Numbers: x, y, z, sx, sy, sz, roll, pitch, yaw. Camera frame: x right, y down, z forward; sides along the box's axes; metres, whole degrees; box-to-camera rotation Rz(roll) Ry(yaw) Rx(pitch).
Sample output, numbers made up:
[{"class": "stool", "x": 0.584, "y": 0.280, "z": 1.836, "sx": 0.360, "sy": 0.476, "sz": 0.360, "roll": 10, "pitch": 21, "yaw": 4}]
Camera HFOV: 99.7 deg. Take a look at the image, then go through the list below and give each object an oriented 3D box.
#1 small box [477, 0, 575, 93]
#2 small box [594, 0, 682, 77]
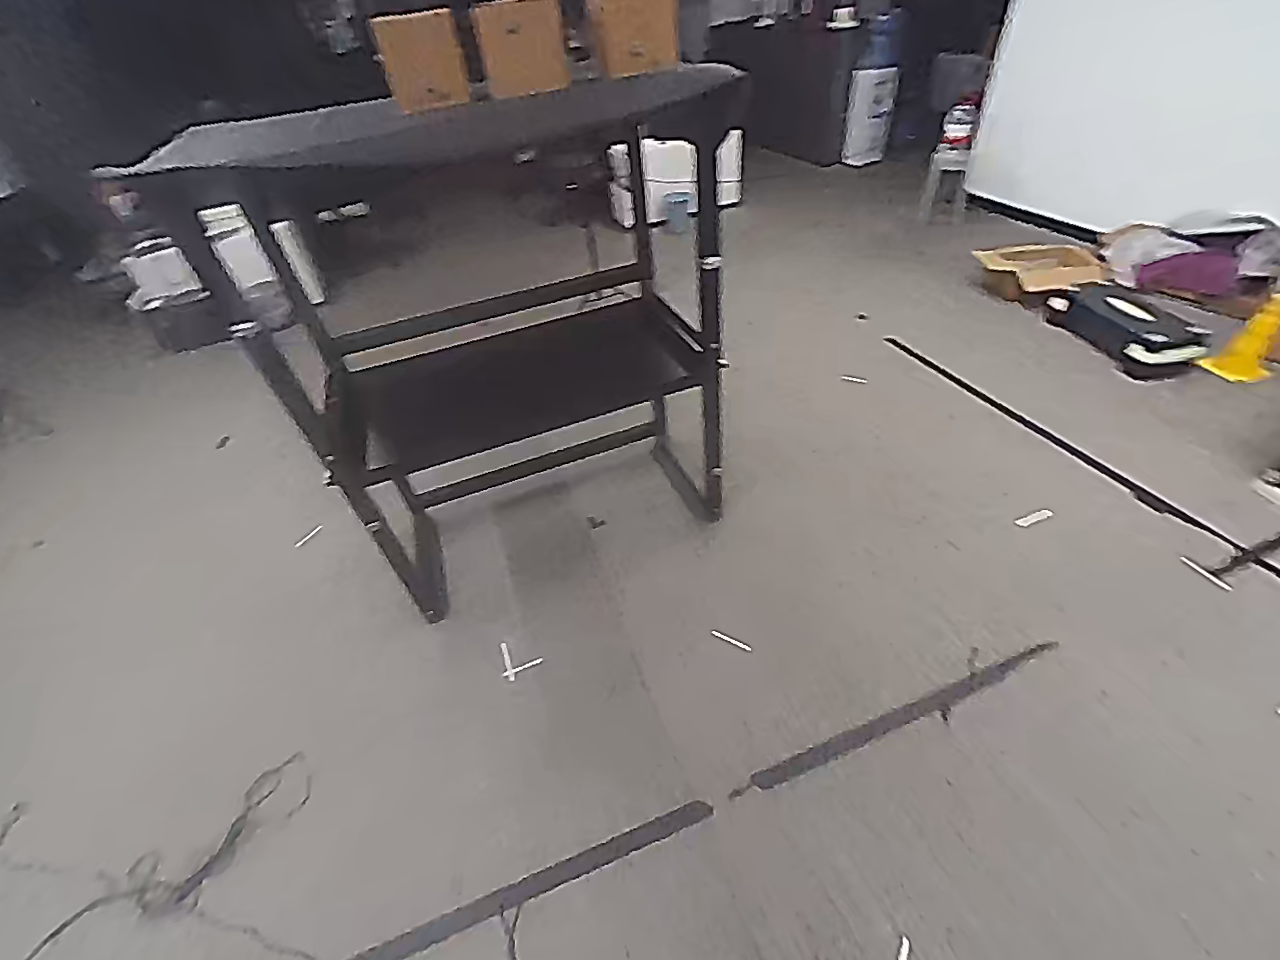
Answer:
[{"class": "small box", "x": -0.254, "y": -1.006, "z": 1.241, "sx": 0.179, "sy": 0.176, "sz": 0.168, "roll": -7, "pitch": 43, "yaw": 1}, {"class": "small box", "x": -0.006, "y": -1.049, "z": 1.250, "sx": 0.168, "sy": 0.176, "sz": 0.179, "roll": -15, "pitch": 43, "yaw": -7}]
